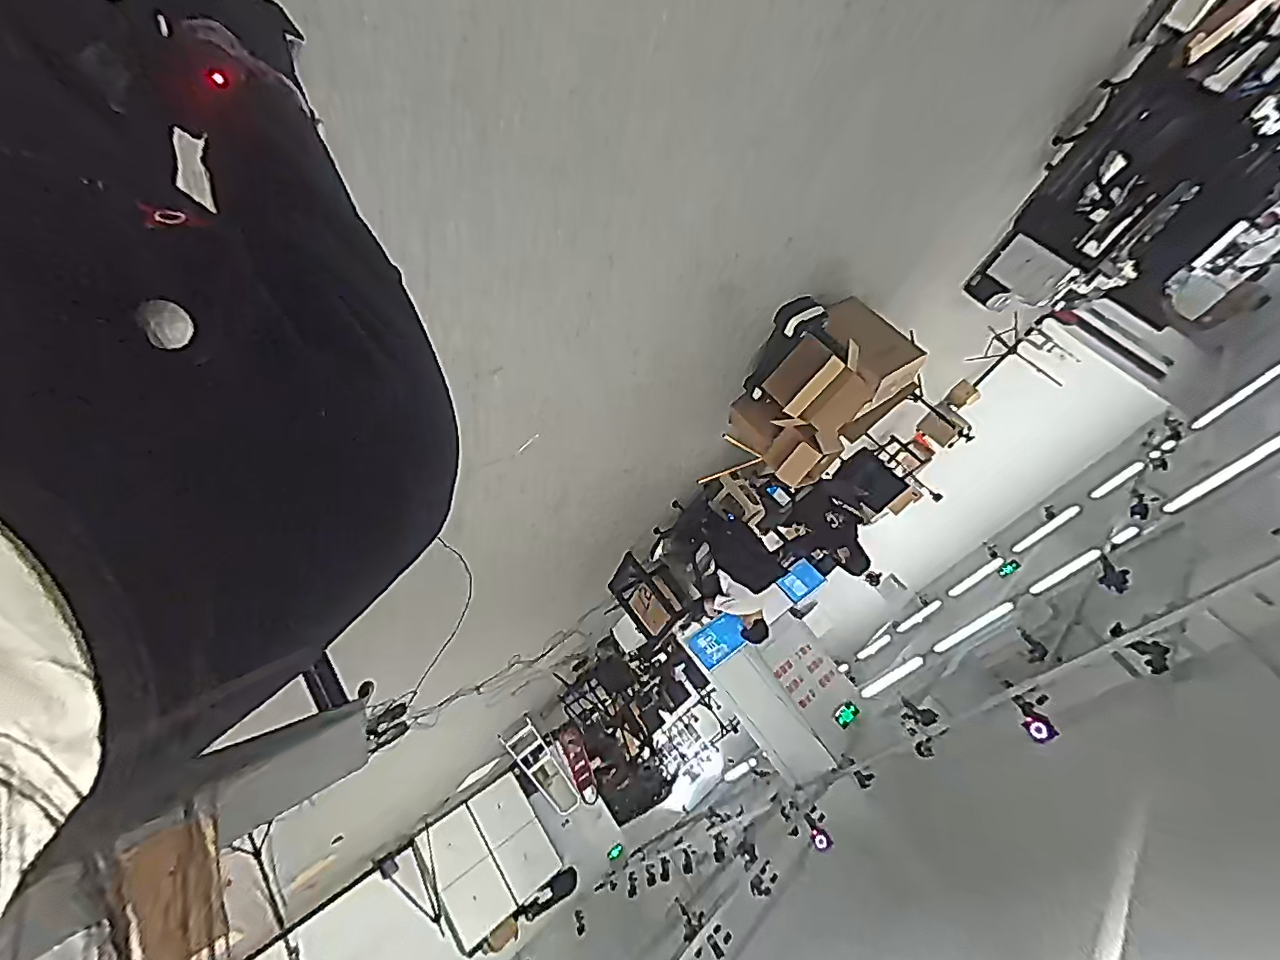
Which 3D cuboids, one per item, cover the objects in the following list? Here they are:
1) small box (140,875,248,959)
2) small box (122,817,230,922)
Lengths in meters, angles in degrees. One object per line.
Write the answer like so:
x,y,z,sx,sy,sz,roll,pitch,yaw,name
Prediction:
-1.180,1.192,1.435,0.168,0.176,0.179,-23,152,-37,small box
-1.276,1.073,1.492,0.179,0.176,0.168,-21,151,-38,small box
